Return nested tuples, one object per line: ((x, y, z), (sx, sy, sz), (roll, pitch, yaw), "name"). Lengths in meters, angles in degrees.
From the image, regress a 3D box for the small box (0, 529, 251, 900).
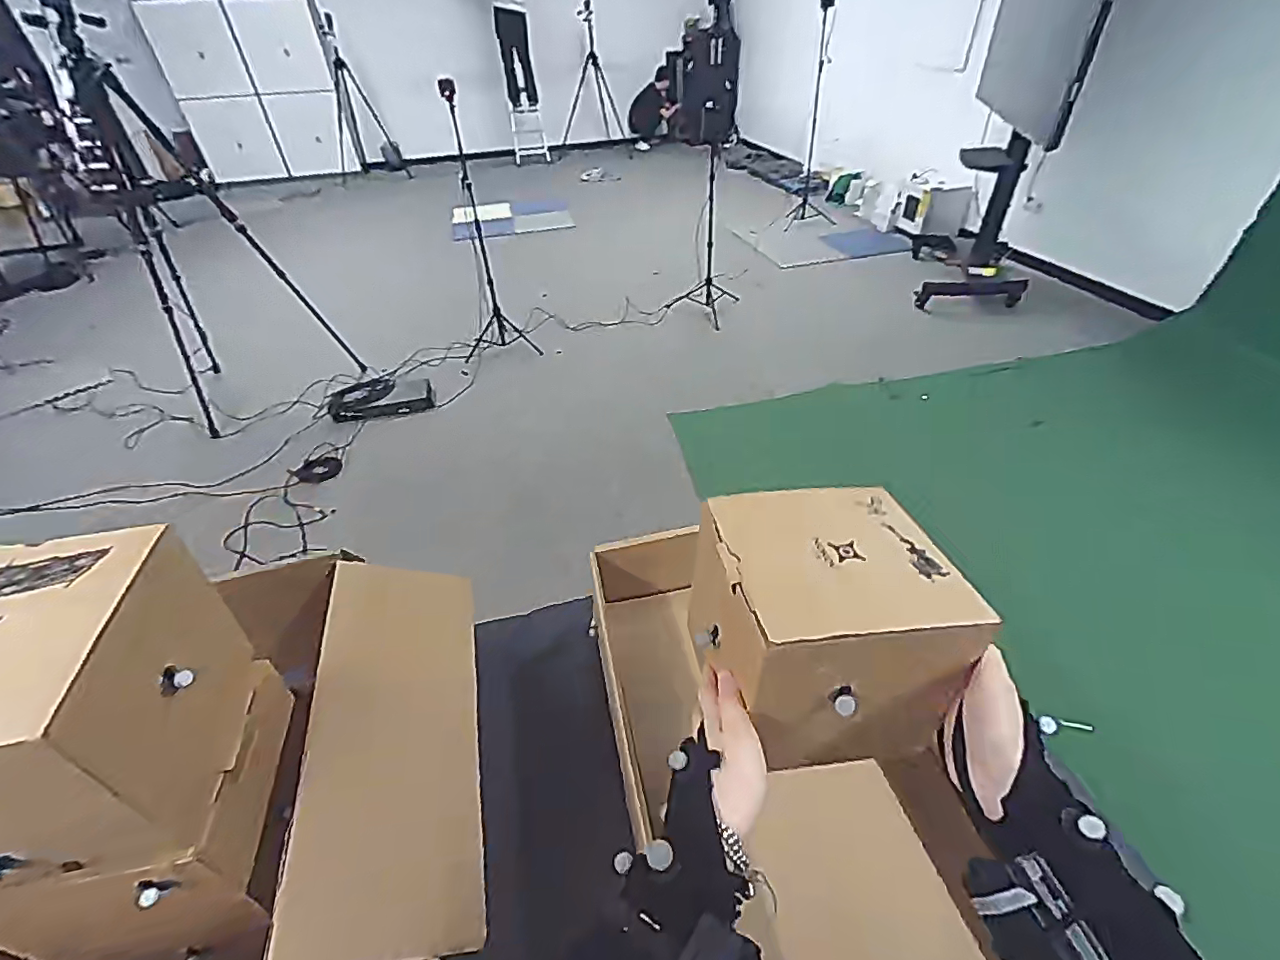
((-0.416, 0.162, 0.386), (0.168, 0.176, 0.179), (-8, 40, -13), "small box")

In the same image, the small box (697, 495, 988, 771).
((0.152, 0.132, 0.481), (0.179, 0.176, 0.168), (-3, 34, -8), "small box")
